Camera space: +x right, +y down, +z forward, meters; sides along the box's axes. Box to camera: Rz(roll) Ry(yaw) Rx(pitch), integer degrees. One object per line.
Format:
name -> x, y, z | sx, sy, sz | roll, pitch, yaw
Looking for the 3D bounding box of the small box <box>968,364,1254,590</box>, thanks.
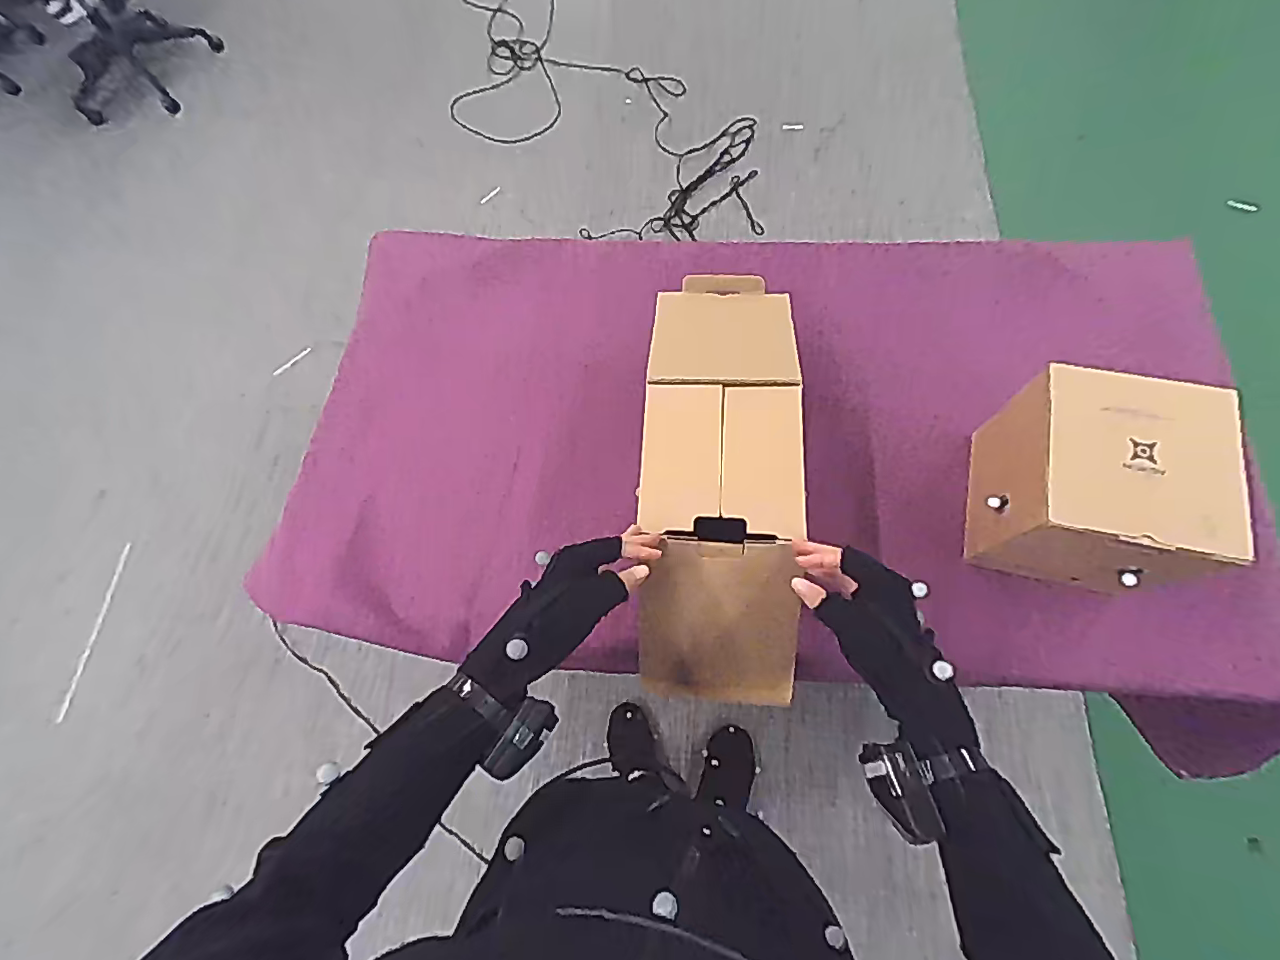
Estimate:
small box -> 0.475, 0.006, 0.575 | 0.168, 0.176, 0.179 | 12, 71, 11
